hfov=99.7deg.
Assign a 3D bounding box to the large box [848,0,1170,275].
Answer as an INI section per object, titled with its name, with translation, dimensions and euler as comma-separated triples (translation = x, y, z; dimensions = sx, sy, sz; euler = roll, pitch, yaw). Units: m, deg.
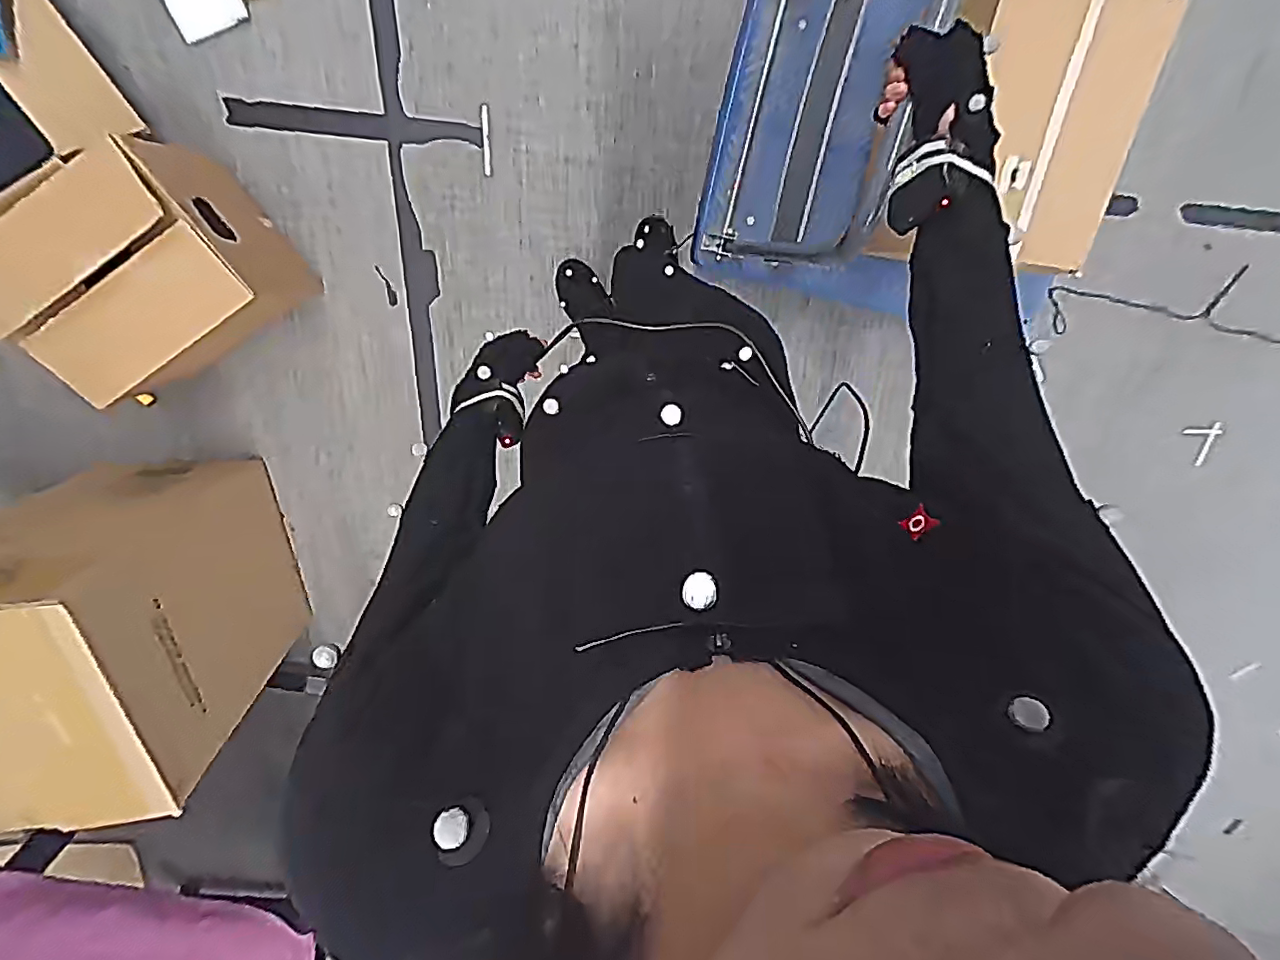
[large box]
translation = 0.651, -0.627, 1.037
dimensions = 0.320, 0.320, 0.408
euler = 3, 113, -8
